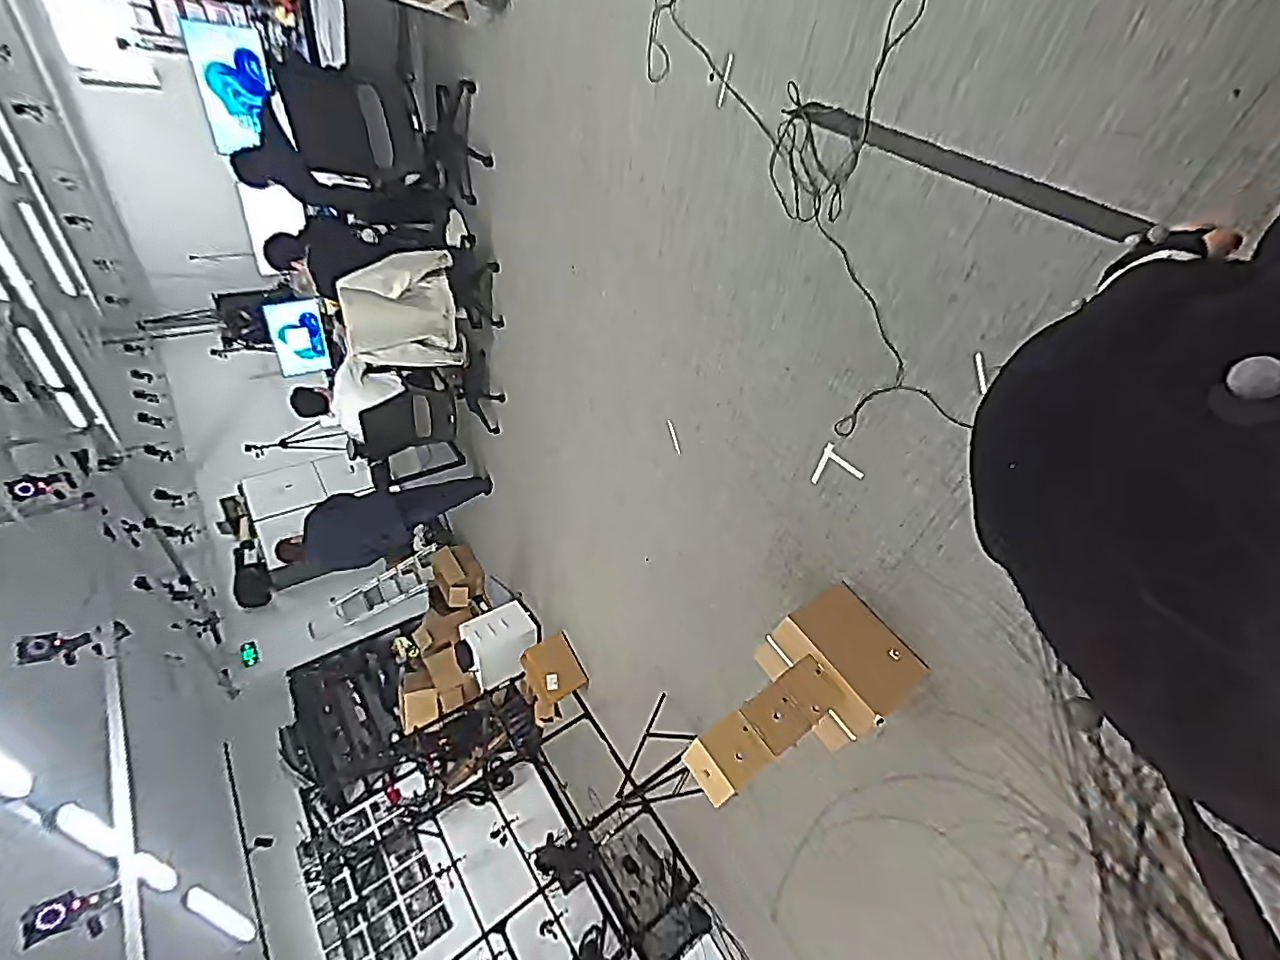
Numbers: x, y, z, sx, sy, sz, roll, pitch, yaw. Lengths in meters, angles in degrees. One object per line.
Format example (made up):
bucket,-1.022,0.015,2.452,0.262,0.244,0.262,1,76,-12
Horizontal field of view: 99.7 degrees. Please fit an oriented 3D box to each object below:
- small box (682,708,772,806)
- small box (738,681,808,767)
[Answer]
small box,0.253,0.795,1.564,0.168,0.176,0.179,48,143,29
small box,0.382,0.750,1.653,0.168,0.176,0.179,50,142,27
